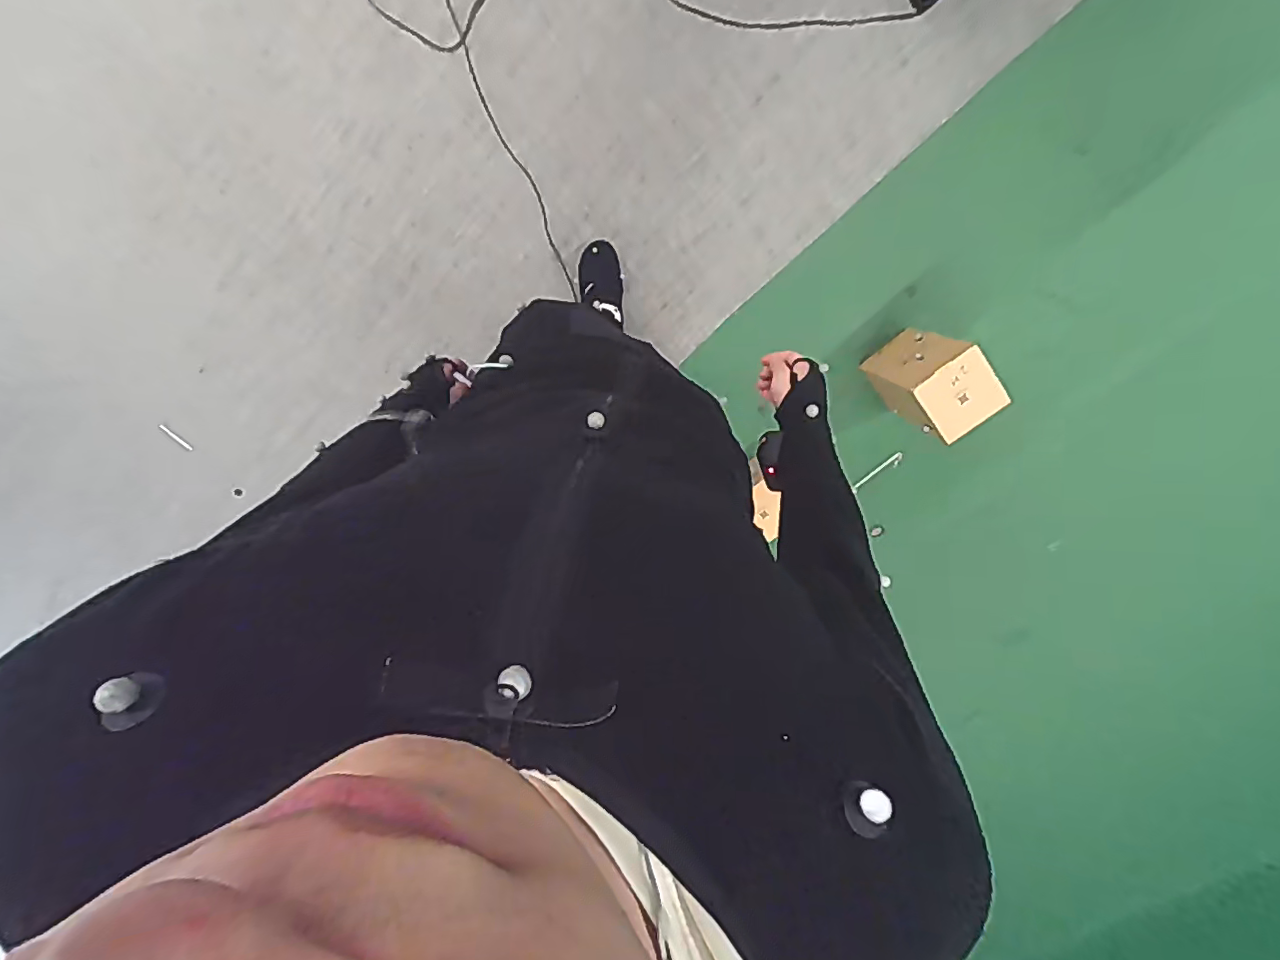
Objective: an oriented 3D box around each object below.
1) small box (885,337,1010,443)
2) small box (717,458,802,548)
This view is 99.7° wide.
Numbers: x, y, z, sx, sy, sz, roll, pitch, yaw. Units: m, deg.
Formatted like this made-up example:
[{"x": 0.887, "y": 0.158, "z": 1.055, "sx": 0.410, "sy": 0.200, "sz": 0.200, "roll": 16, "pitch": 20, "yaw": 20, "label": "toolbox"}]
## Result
[{"x": 0.737, "y": -0.224, "z": 1.311, "sx": 0.168, "sy": 0.176, "sz": 0.179, "roll": -38, "pitch": 106, "yaw": 14, "label": "small box"}, {"x": 0.350, "y": 0.062, "z": 1.607, "sx": 0.168, "sy": 0.176, "sz": 0.179, "roll": -39, "pitch": 106, "yaw": 15, "label": "small box"}]
